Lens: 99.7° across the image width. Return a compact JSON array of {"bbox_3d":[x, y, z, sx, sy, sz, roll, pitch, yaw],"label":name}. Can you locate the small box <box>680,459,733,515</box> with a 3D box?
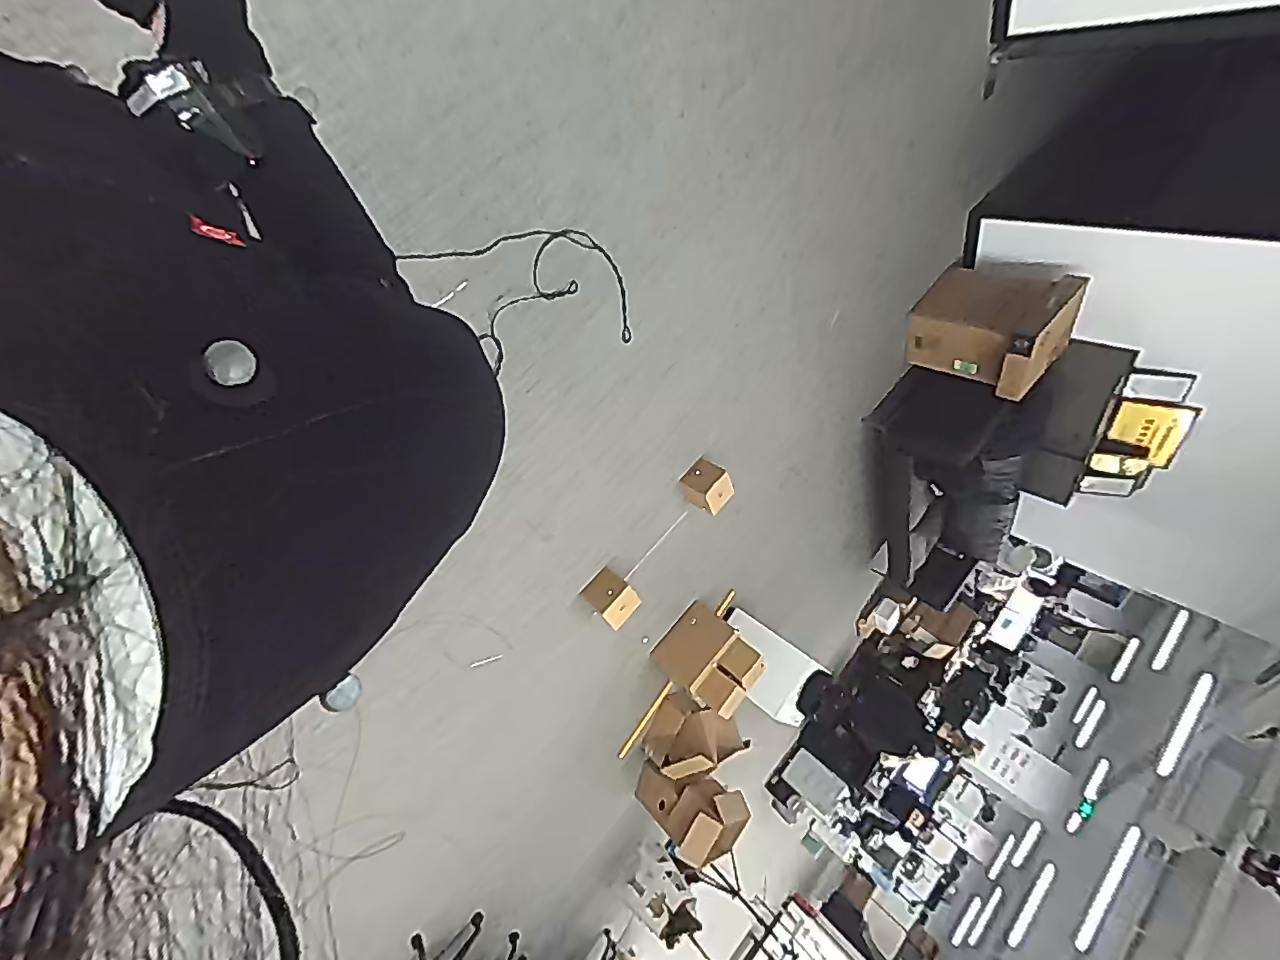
[{"bbox_3d":[0.316,0.027,2.575,0.168,0.176,0.179,-47,139,-15],"label":"small box"}]

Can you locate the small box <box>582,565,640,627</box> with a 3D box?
[{"bbox_3d":[-0.135,0.514,2.406,0.179,0.176,0.168,-47,139,-16],"label":"small box"}]
